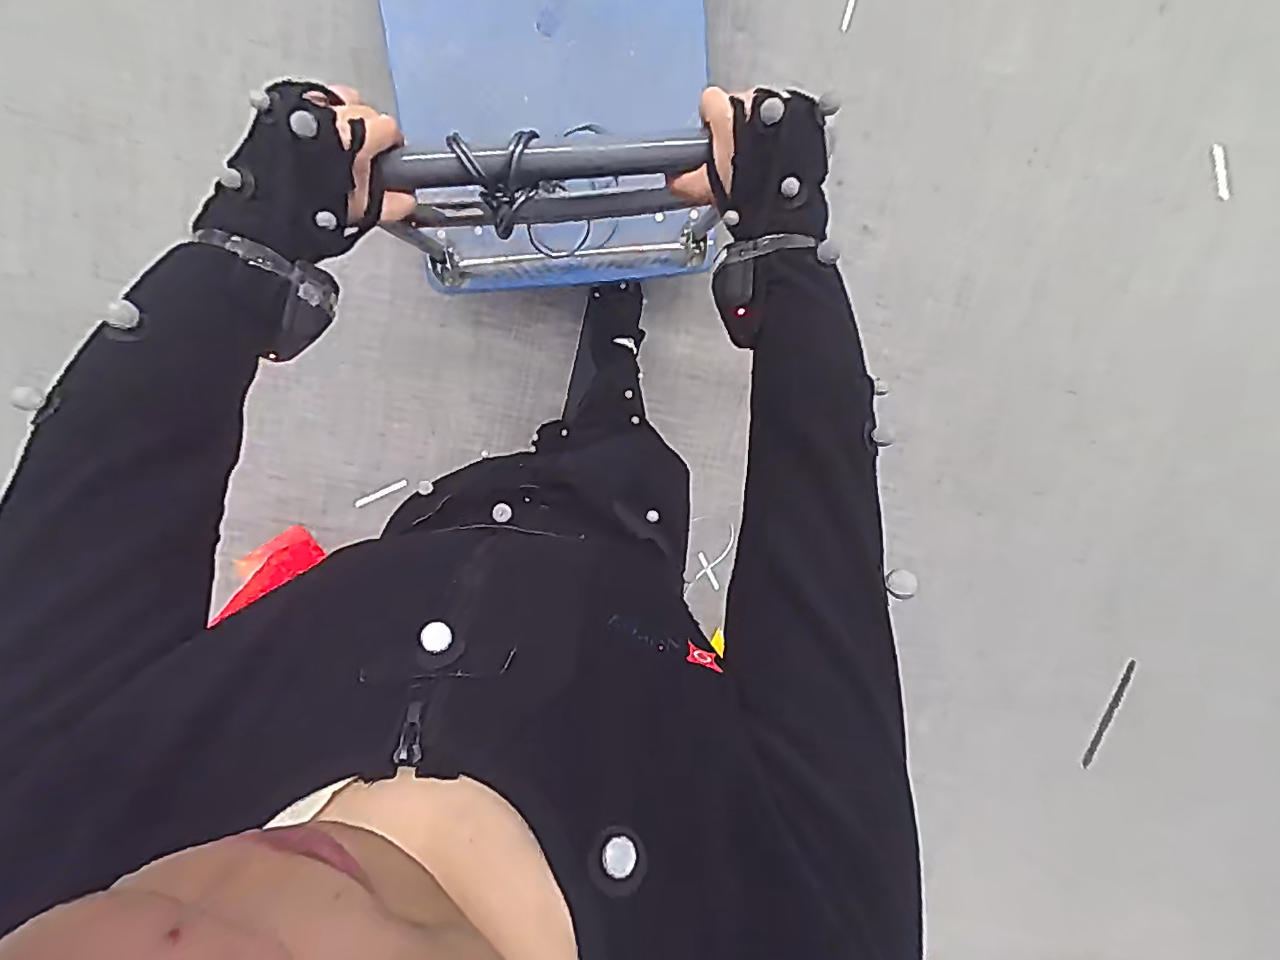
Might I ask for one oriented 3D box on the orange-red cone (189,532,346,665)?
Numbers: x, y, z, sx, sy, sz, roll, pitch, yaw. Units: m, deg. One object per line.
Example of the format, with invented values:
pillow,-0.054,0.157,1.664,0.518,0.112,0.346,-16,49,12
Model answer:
orange-red cone,-0.844,0.285,1.178,0.199,0.360,0.198,-32,106,2
